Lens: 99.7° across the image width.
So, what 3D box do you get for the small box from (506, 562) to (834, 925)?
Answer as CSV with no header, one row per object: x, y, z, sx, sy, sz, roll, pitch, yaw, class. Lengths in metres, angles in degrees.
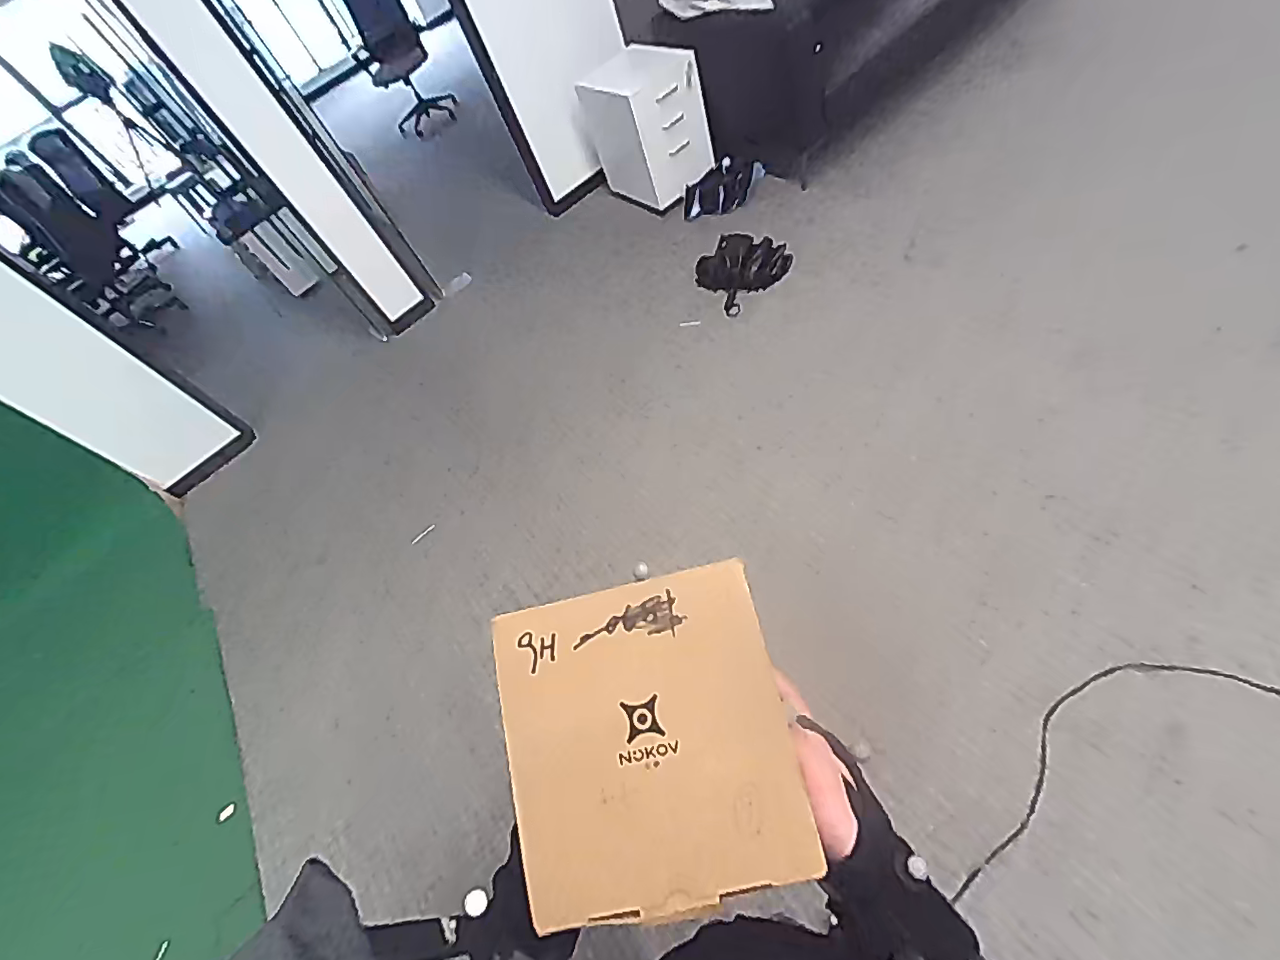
0.021,0.168,0.395,0.168,0.176,0.179,-14,74,3,small box
